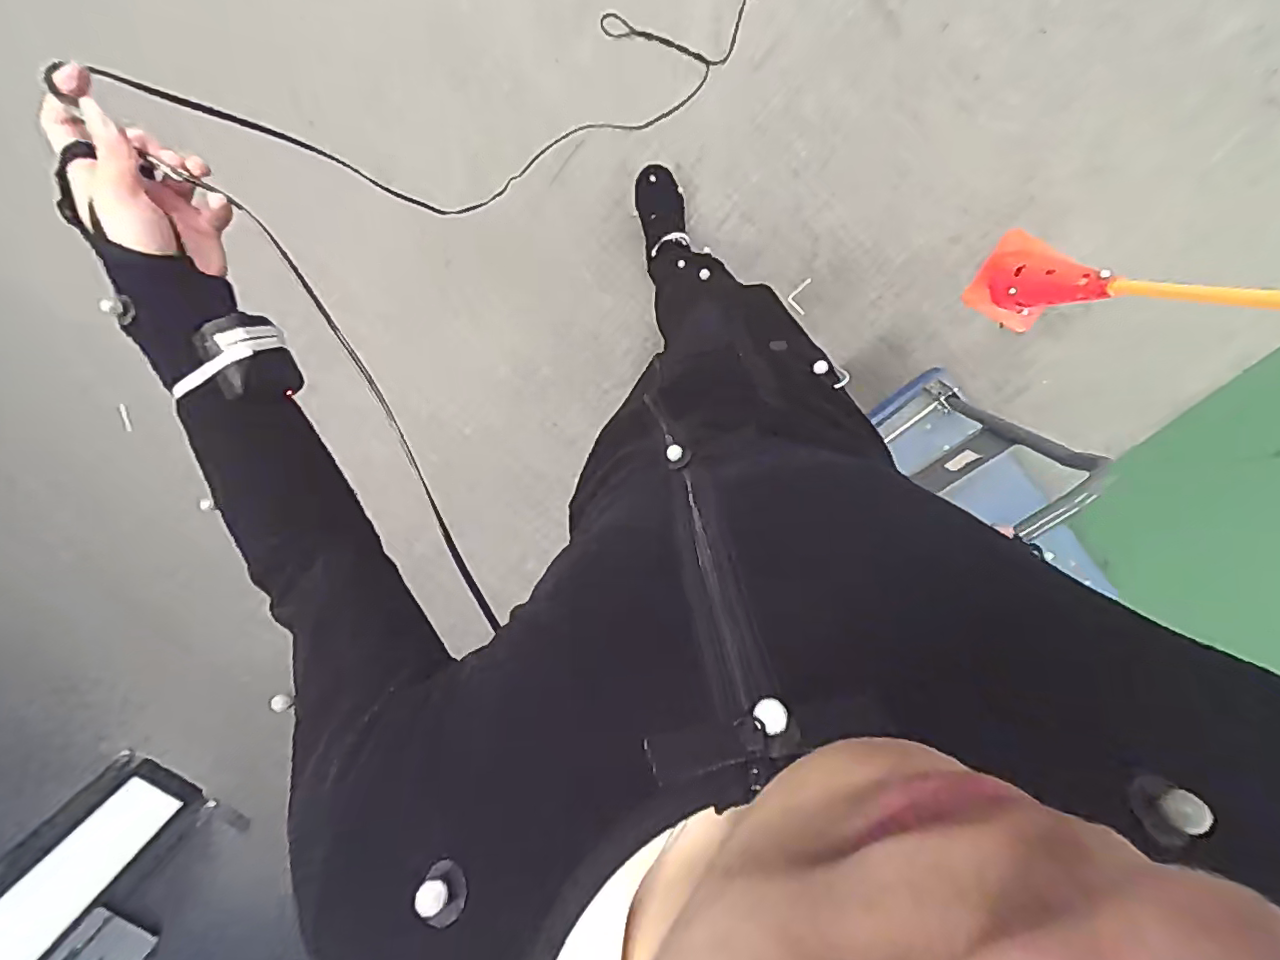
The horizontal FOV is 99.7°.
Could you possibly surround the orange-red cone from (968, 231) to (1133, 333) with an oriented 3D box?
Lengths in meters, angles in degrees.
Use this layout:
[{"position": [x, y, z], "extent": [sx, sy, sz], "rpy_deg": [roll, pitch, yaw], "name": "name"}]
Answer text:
[{"position": [0.955, -0.438, 1.215], "extent": [0.198, 0.360, 0.199], "rpy_deg": [28, 110, -6], "name": "orange-red cone"}]
